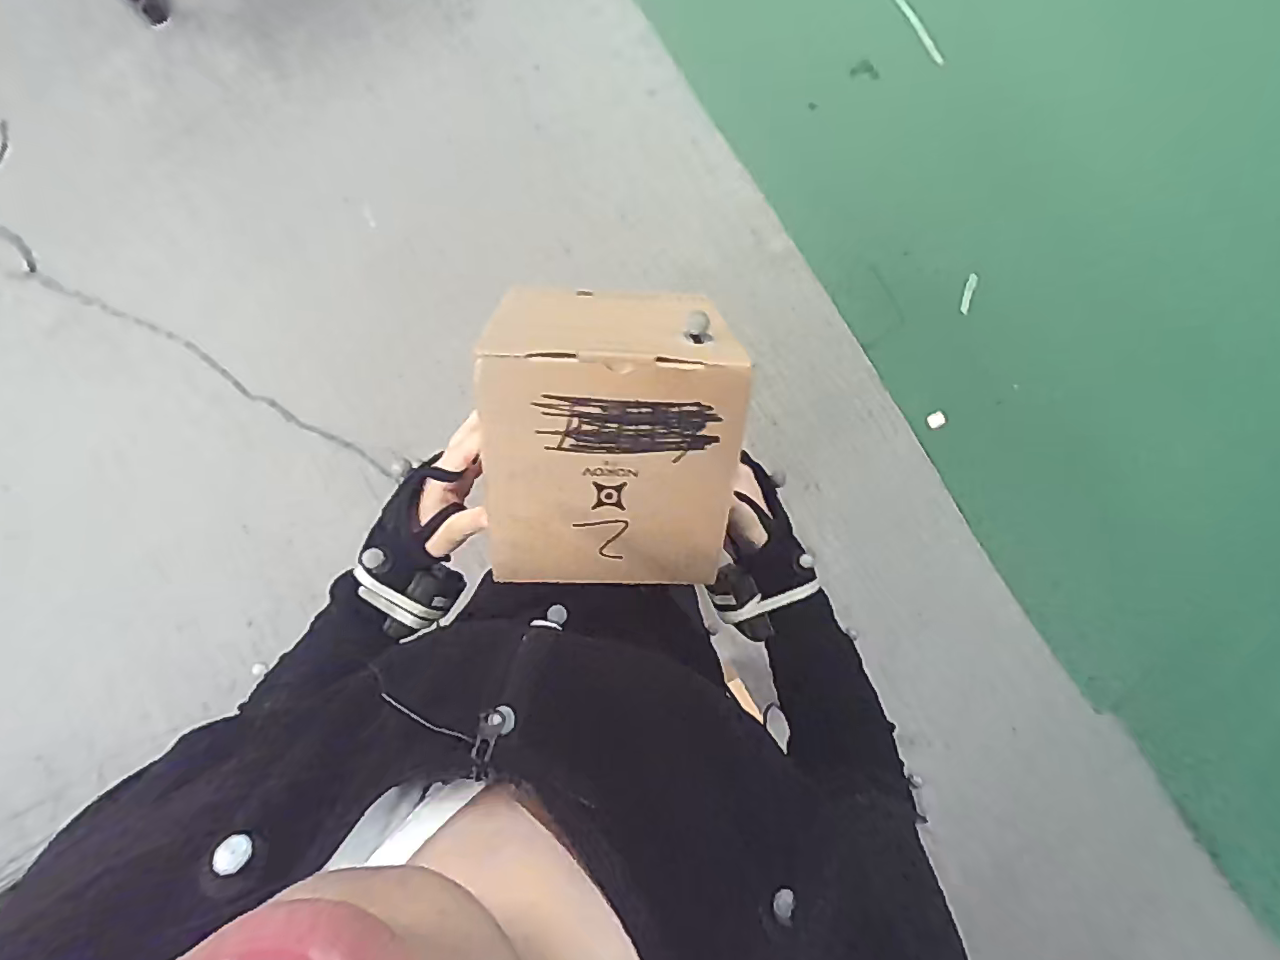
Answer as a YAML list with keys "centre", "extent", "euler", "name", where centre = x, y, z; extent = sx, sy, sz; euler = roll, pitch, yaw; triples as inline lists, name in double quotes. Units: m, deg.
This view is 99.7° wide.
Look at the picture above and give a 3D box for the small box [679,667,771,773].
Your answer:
- centre: [0.211, 0.608, 1.405]
  extent: [0.168, 0.176, 0.179]
  euler: [-30, 86, -1]
  name: "small box"
